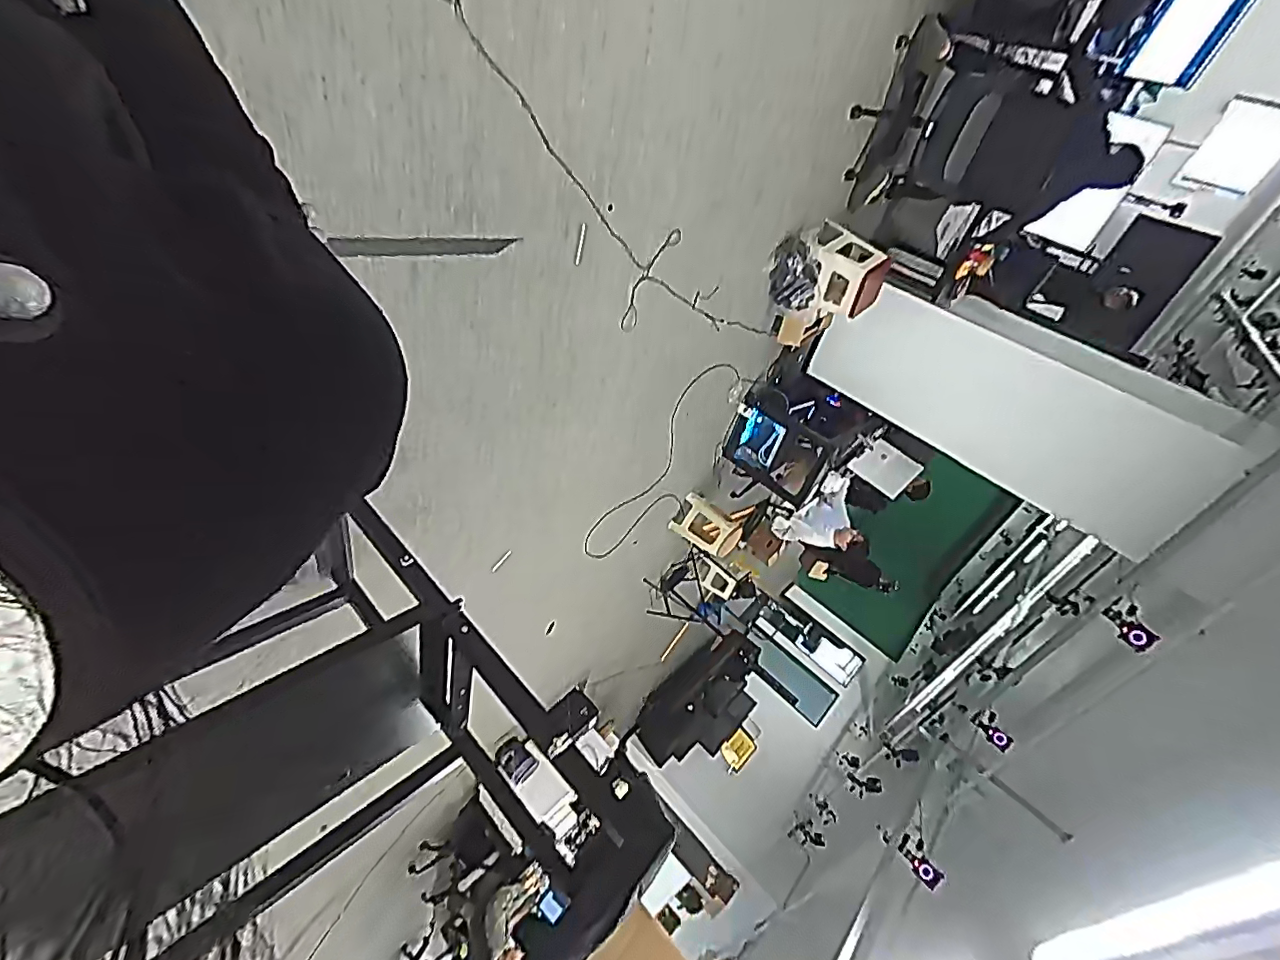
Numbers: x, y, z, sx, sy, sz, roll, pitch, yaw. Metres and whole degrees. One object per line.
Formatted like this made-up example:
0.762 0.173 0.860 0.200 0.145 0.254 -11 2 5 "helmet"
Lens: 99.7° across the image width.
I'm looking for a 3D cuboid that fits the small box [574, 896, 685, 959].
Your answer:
-0.031 0.934 1.005 0.179 0.176 0.168 -17 141 -49 "small box"
